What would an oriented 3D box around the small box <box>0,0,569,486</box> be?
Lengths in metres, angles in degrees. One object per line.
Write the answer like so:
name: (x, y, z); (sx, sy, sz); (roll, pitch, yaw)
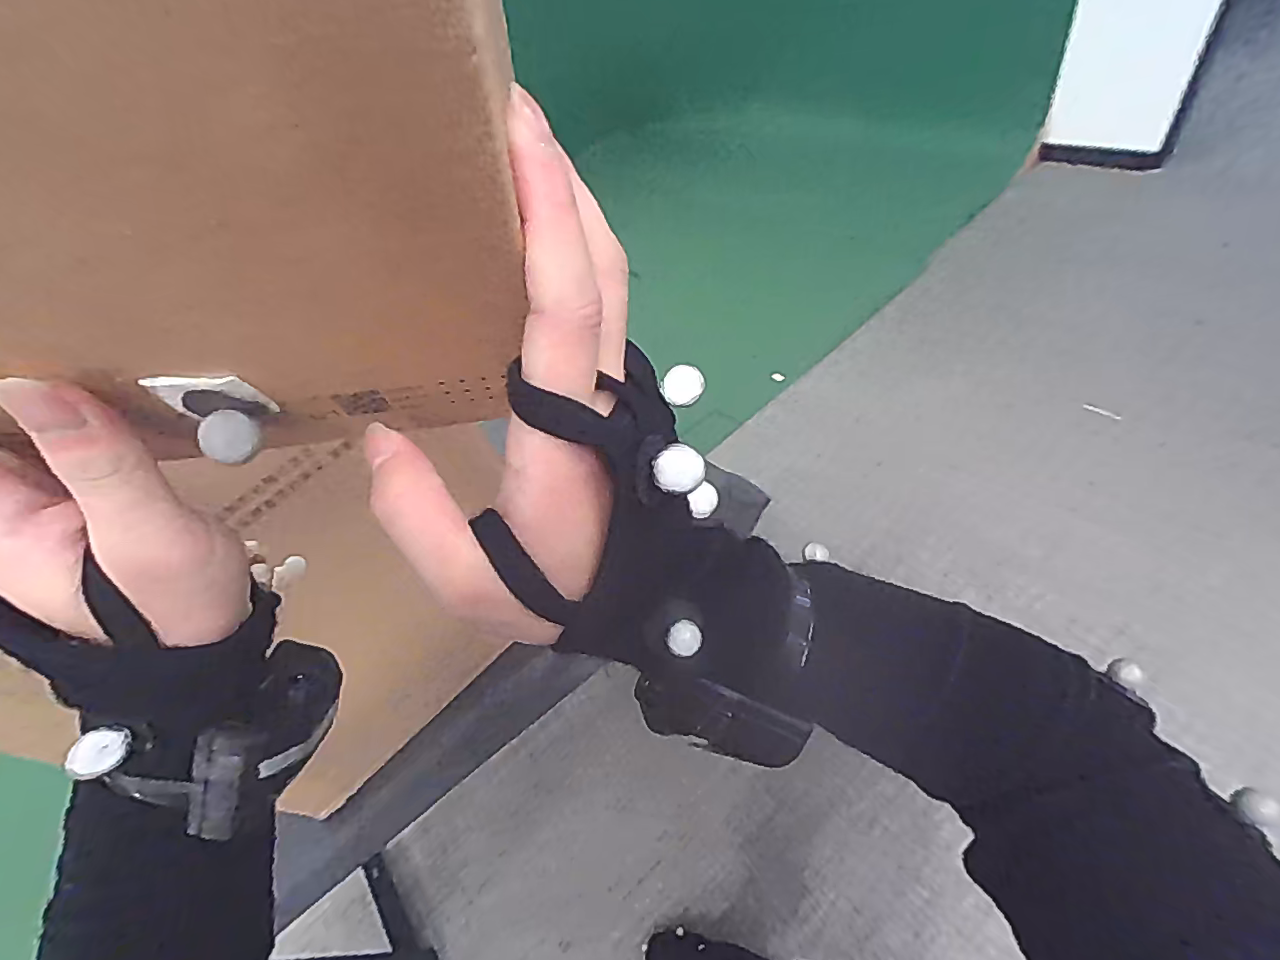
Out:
small box: (-0.118, -0.115, 0.155); (0.168, 0.176, 0.179); (-10, 72, -5)
